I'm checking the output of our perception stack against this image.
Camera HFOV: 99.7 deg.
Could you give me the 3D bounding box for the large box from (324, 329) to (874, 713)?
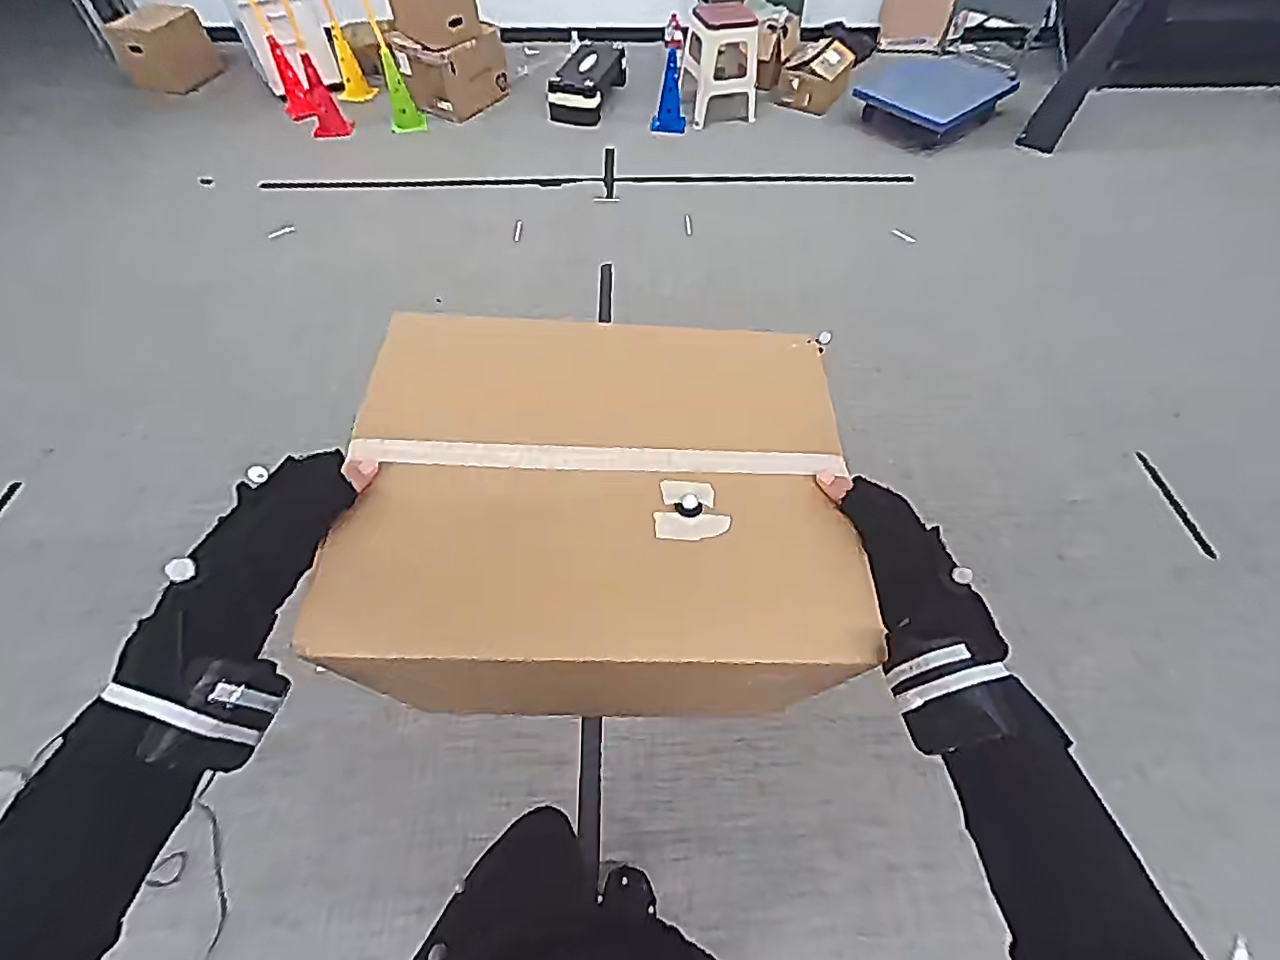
[{"bbox_3d":[-0.037,0.065,0.587,0.408,0.320,0.320,2,60,-4],"label":"large box"}]
